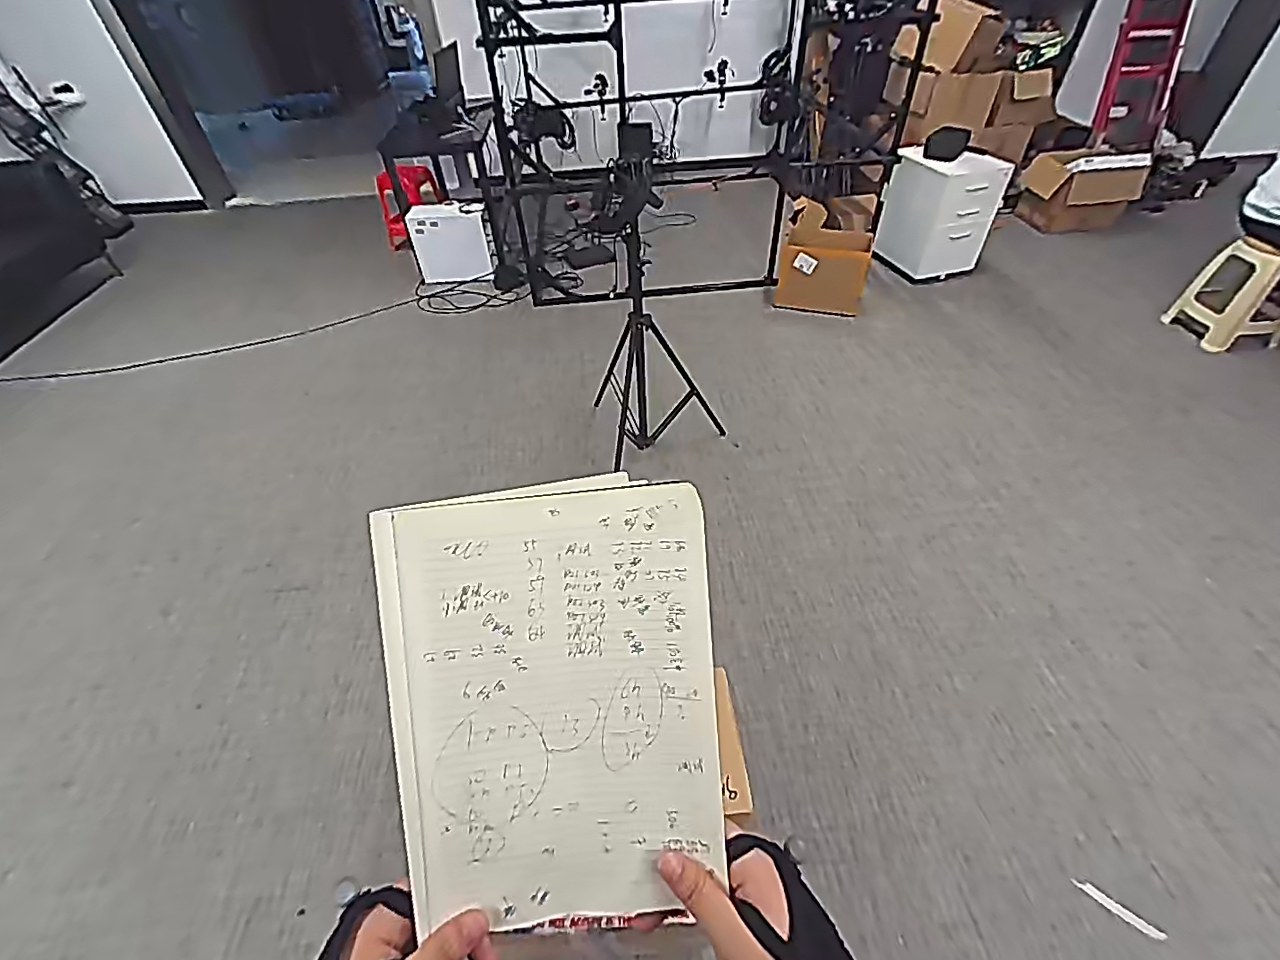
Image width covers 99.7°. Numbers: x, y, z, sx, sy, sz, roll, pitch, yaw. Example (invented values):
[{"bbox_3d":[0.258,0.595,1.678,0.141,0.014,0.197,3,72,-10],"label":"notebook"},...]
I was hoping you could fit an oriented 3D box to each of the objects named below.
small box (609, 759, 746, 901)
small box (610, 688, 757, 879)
[{"bbox_3d":[0.048,0.524,0.831,0.179,0.176,0.168,-6,46,-5],"label":"small box"},{"bbox_3d":[0.044,0.403,0.720,0.168,0.176,0.179,-4,45,-4],"label":"small box"}]
